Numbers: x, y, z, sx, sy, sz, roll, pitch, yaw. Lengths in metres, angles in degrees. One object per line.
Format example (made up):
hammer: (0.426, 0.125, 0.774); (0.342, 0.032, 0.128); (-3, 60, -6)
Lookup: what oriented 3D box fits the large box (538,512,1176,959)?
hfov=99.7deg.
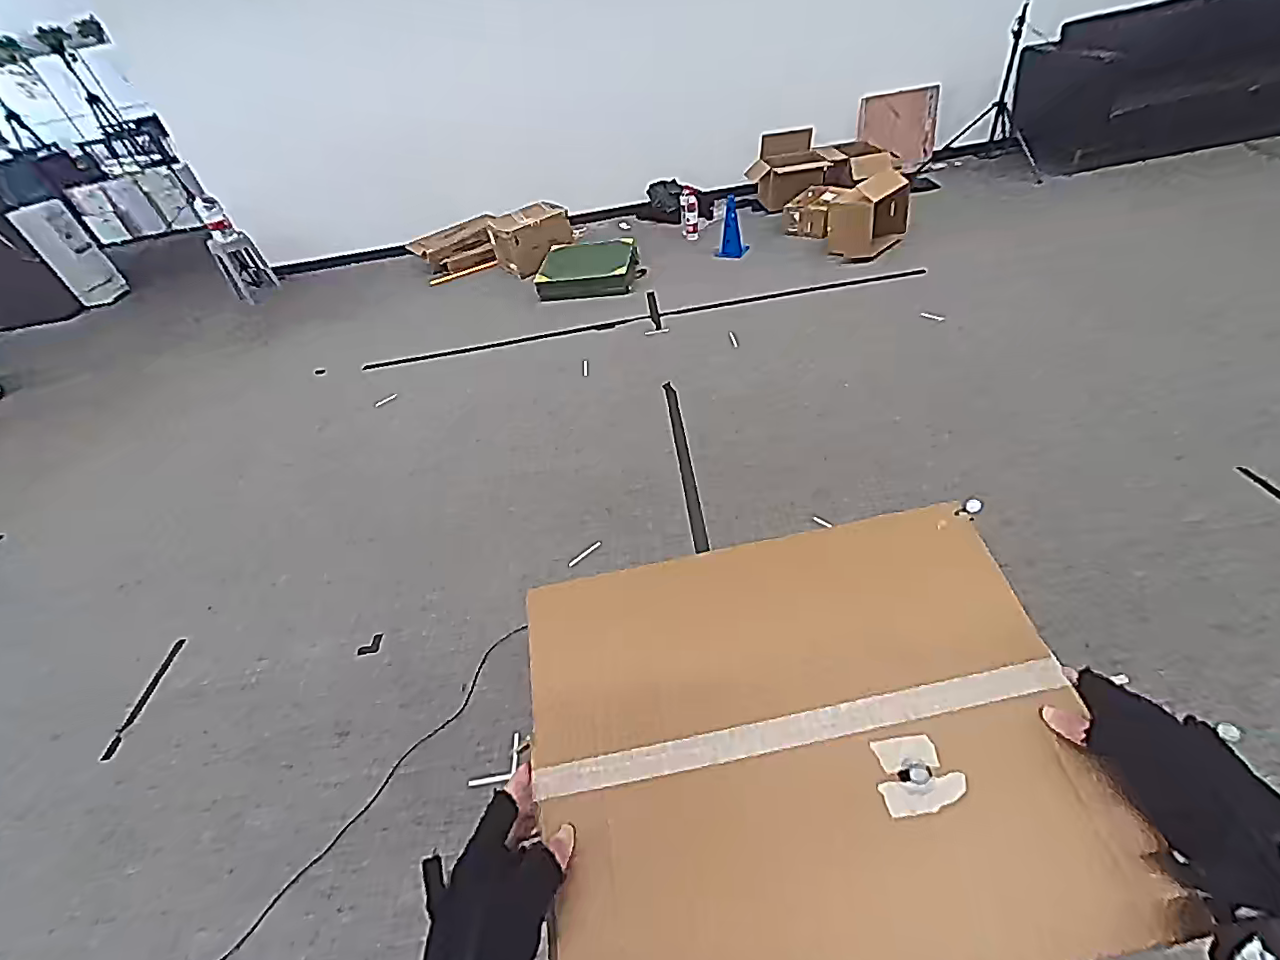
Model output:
large box: (0.139, 0.278, 0.547); (0.408, 0.320, 0.320); (-12, 57, -1)
